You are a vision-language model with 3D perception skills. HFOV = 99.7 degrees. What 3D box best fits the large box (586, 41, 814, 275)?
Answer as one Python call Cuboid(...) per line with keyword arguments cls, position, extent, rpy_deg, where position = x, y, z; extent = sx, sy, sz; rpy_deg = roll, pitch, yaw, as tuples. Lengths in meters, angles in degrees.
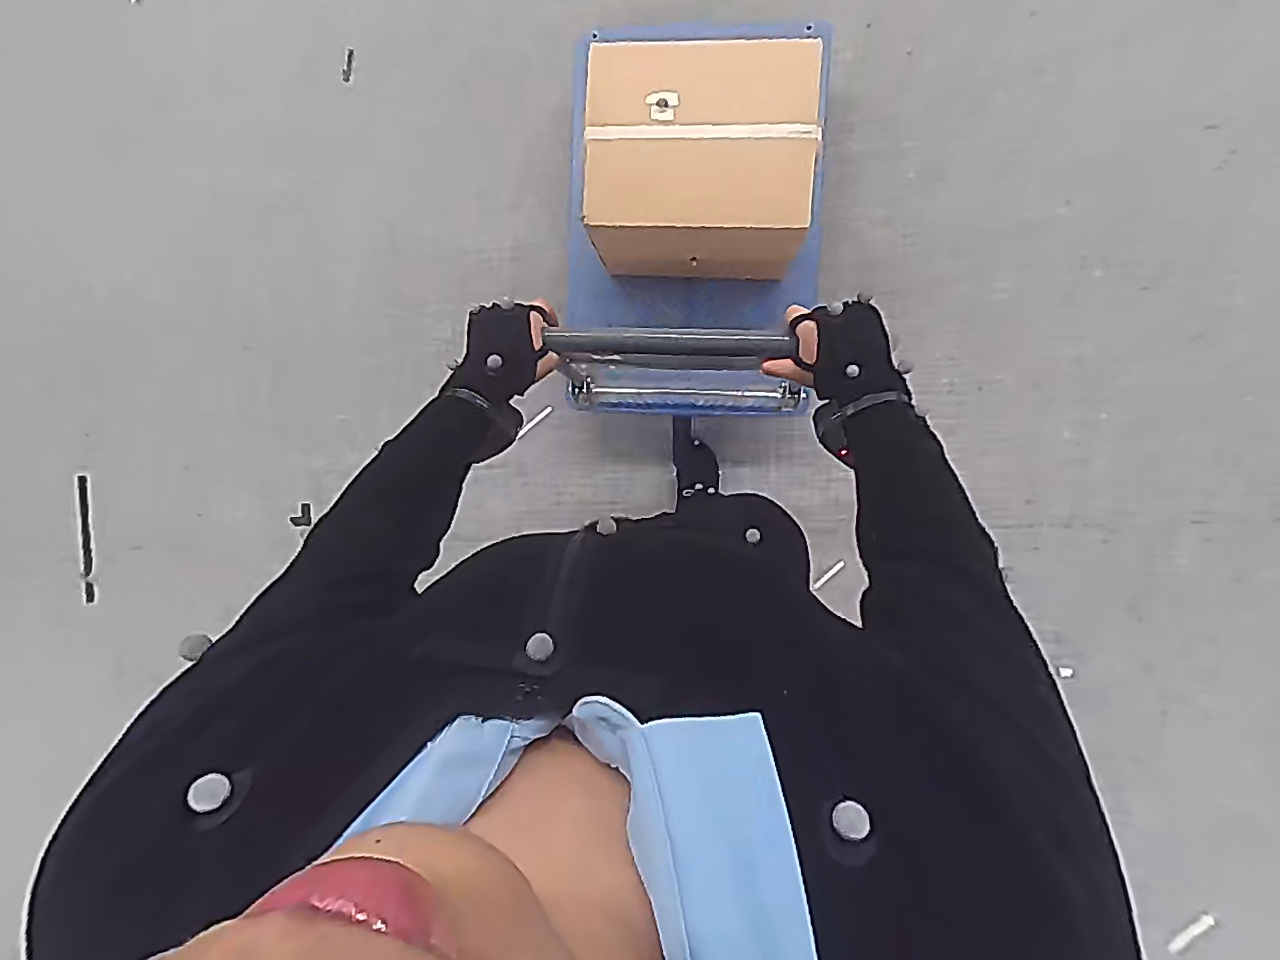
Cuboid(cls="large box", position=(0.120, -0.620, 1.109), extent=(0.408, 0.320, 0.320), rpy_deg=(3, 94, 6))
